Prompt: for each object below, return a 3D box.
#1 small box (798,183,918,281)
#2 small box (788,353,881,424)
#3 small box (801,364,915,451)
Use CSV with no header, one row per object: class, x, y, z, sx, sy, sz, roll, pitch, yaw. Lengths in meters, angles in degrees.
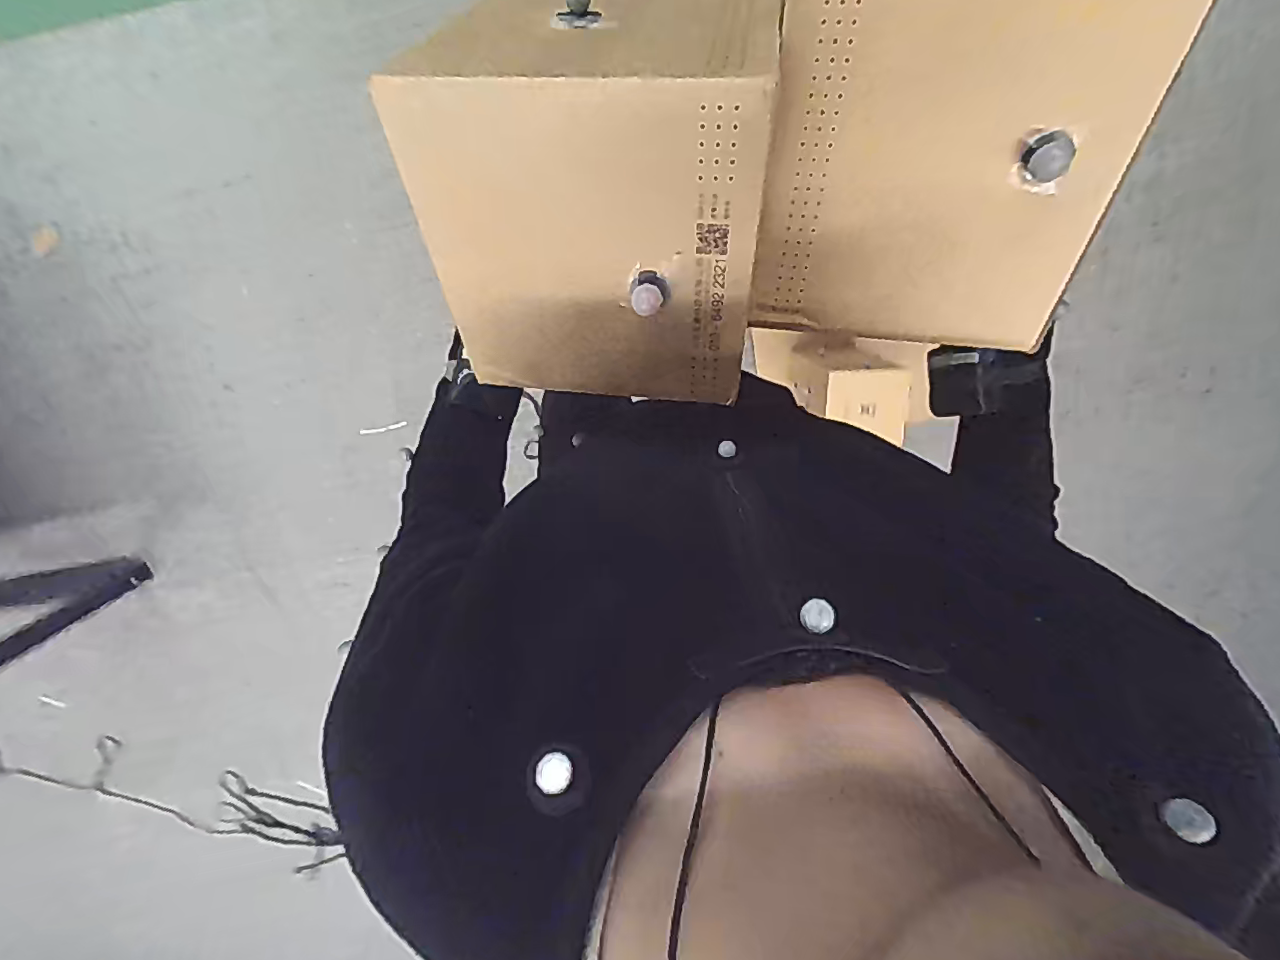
small box,0.429,-0.493,1.094,0.179,0.176,0.168,-3,111,1
small box,0.479,-0.225,1.358,0.179,0.176,0.168,-3,110,0
small box,0.476,-0.166,1.206,0.179,0.176,0.168,0,109,1
